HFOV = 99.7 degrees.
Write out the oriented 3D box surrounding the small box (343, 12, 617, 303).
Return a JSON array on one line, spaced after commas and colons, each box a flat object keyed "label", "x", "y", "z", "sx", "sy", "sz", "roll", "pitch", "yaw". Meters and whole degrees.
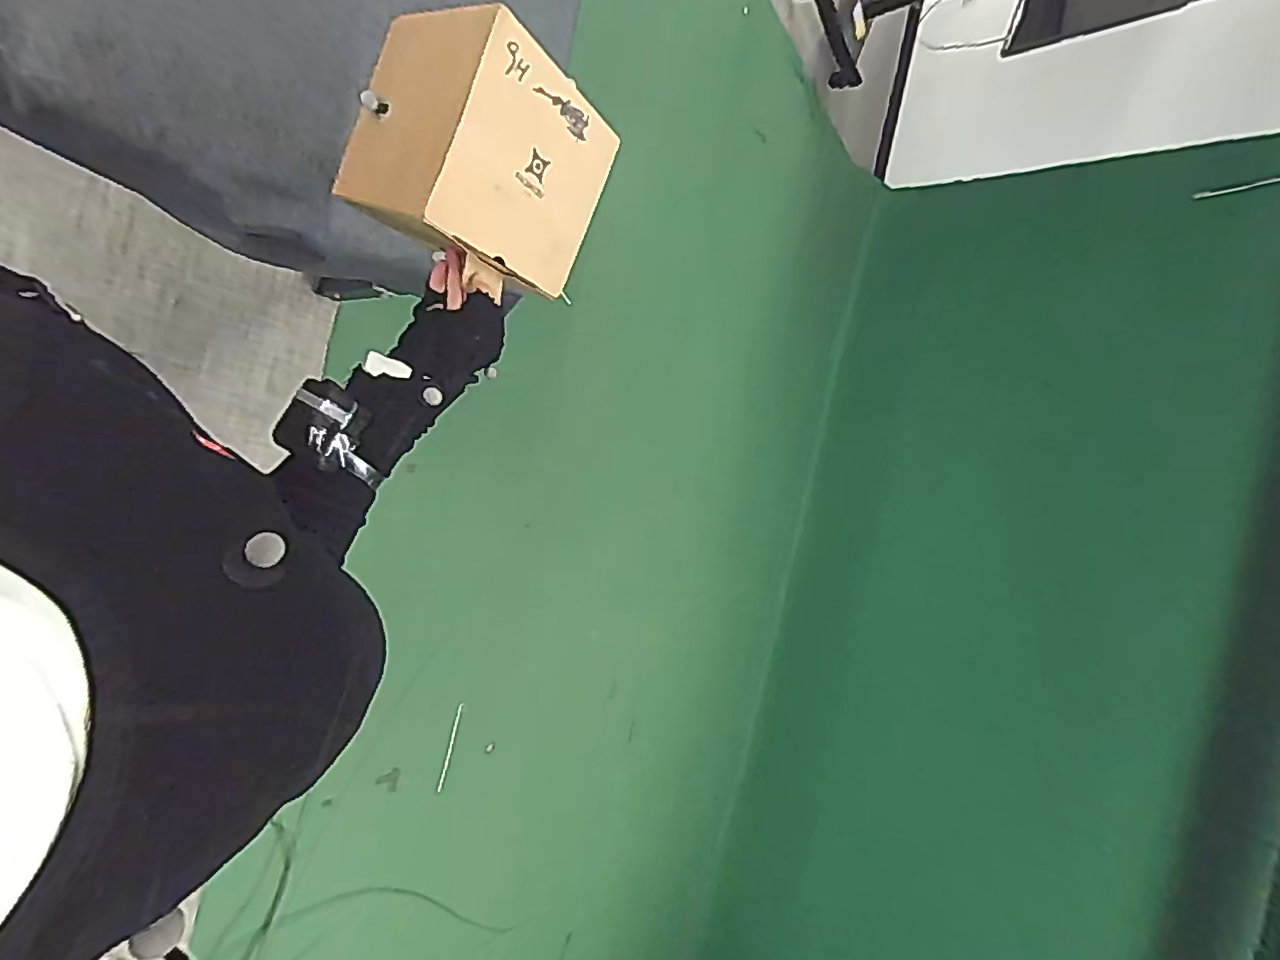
[{"label": "small box", "x": -0.160, "y": -0.307, "z": 0.536, "sx": 0.168, "sy": 0.176, "sz": 0.179, "roll": 13, "pitch": 104, "yaw": -58}]
